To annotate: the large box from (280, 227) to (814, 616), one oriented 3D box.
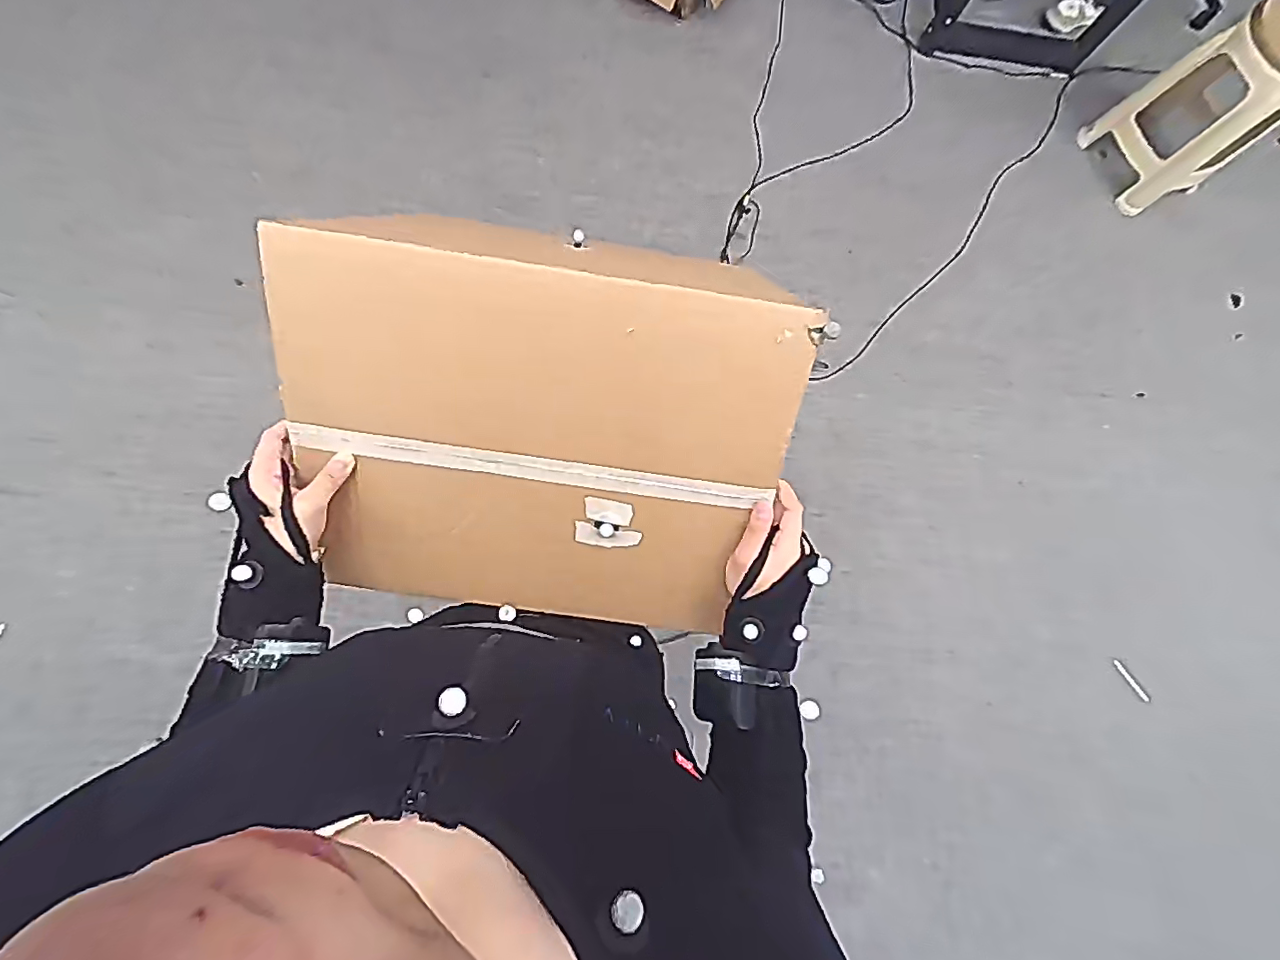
[{"bbox_3d":[-0.083,-0.086,0.597,0.408,0.320,0.320,7,118,-3],"label":"large box"}]
